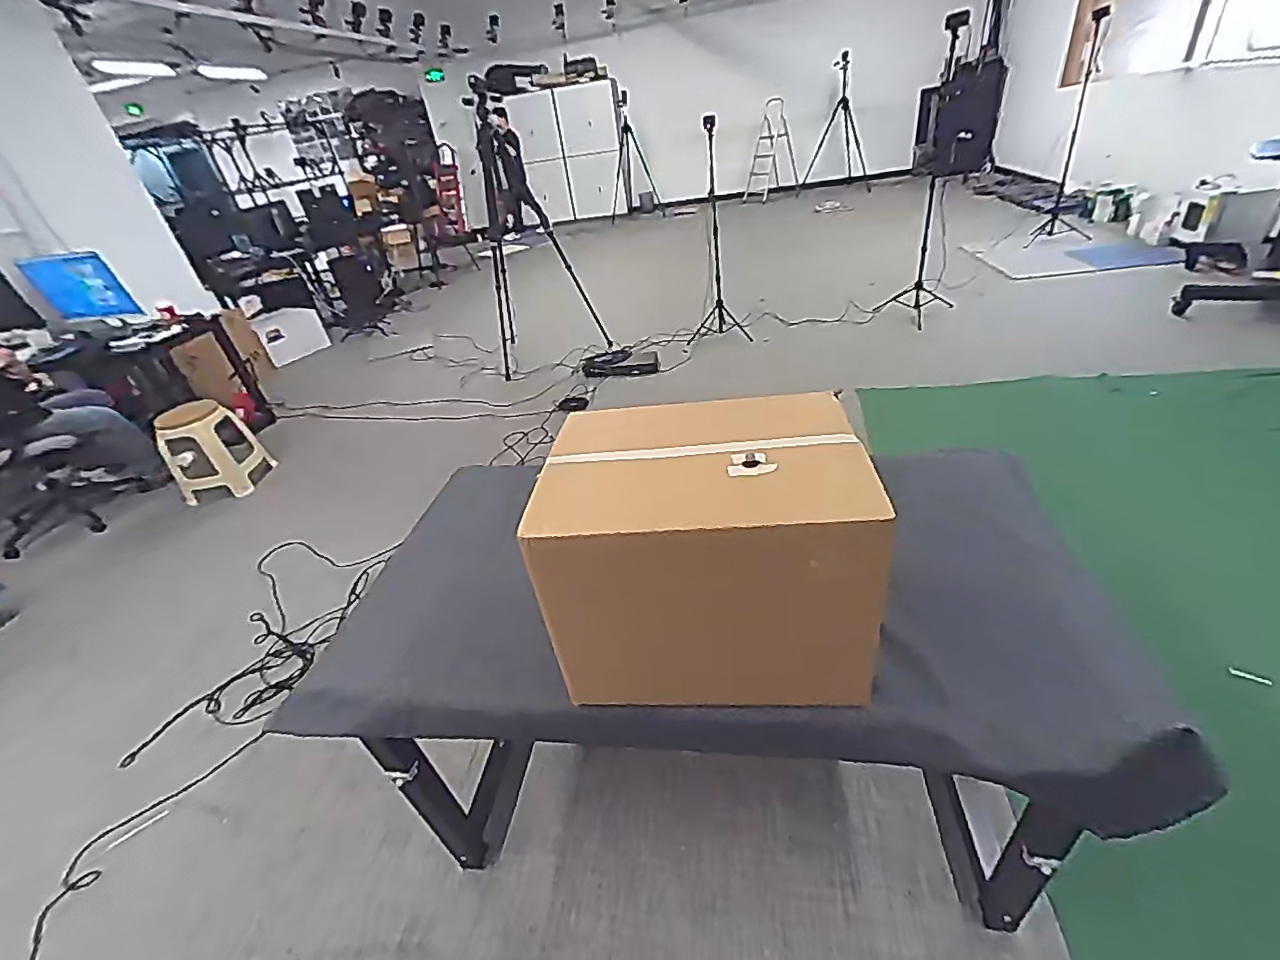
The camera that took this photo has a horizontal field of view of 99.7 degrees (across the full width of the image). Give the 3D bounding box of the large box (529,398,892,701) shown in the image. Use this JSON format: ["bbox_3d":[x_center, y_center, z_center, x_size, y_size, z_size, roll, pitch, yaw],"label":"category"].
[{"bbox_3d":[0.095,0.096,0.788,0.408,0.320,0.320,-3,34,8],"label":"large box"}]
